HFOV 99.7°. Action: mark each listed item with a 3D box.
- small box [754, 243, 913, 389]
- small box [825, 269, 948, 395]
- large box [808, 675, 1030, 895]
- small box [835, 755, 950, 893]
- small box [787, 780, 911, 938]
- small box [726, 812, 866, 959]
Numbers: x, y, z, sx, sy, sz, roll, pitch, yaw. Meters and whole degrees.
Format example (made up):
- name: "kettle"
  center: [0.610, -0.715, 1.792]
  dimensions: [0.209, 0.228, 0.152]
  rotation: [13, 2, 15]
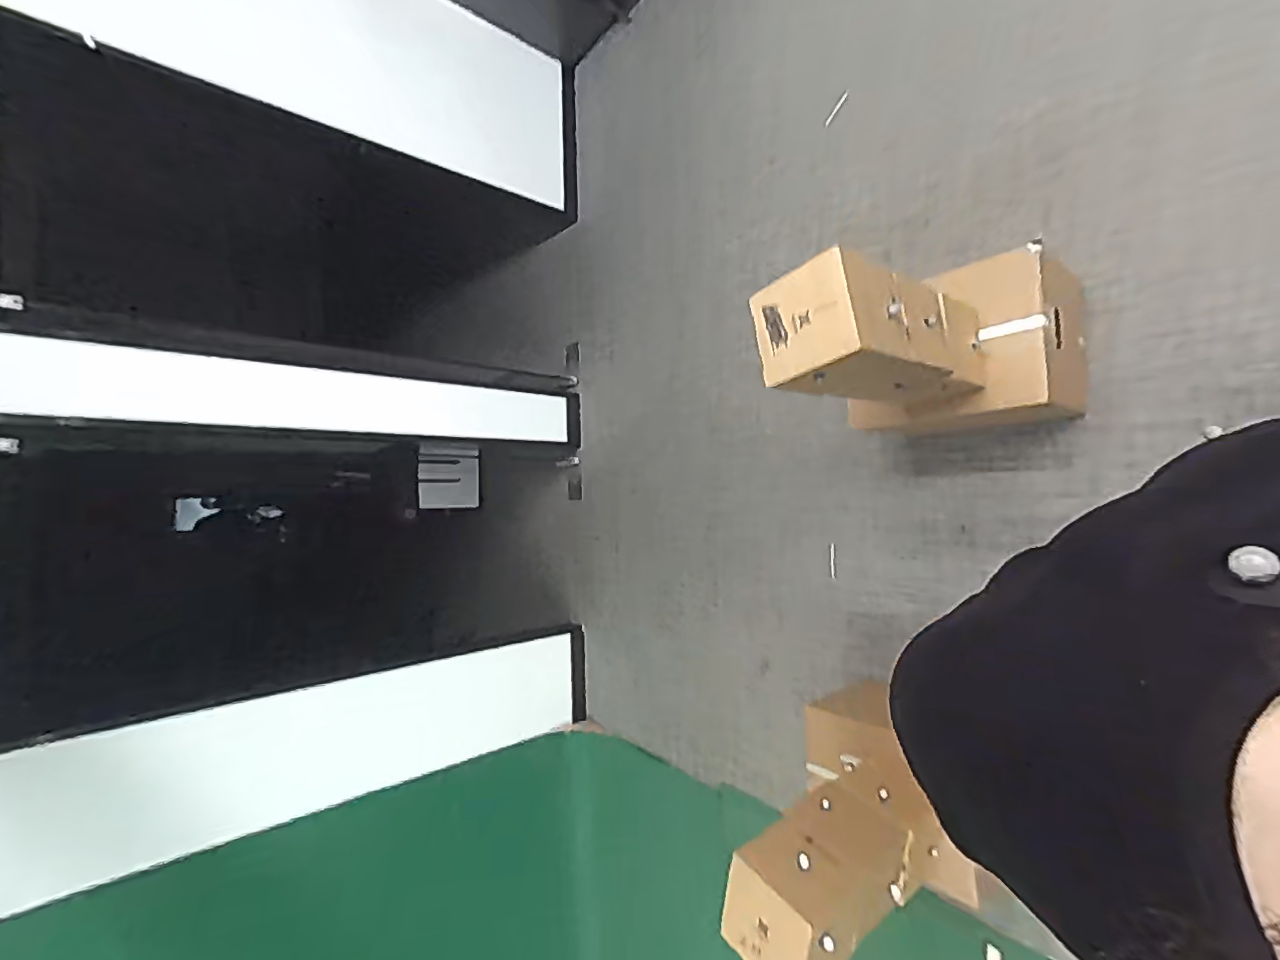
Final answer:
- name: "small box"
  center: [0.323, -0.260, 0.910]
  dimensions: [0.179, 0.176, 0.168]
  rotation: [-18, 78, 49]
- name: "small box"
  center: [0.452, -0.265, 1.013]
  dimensions: [0.179, 0.176, 0.168]
  rotation: [-17, 78, 49]
- name: "large box"
  center: [0.694, 0.723, 1.369]
  dimensions: [0.408, 0.320, 0.320]
  rotation: [-5, 87, 52]
- name: "small box"
  center: [0.538, 0.729, 1.176]
  dimensions: [0.179, 0.176, 0.168]
  rotation: [13, 101, 50]
- name: "small box"
  center: [0.406, 0.737, 1.081]
  dimensions: [0.179, 0.176, 0.168]
  rotation: [18, 105, 48]
- name: "small box"
  center: [0.282, 0.749, 0.974]
  dimensions: [0.168, 0.176, 0.179]
  rotation: [19, 106, 49]
